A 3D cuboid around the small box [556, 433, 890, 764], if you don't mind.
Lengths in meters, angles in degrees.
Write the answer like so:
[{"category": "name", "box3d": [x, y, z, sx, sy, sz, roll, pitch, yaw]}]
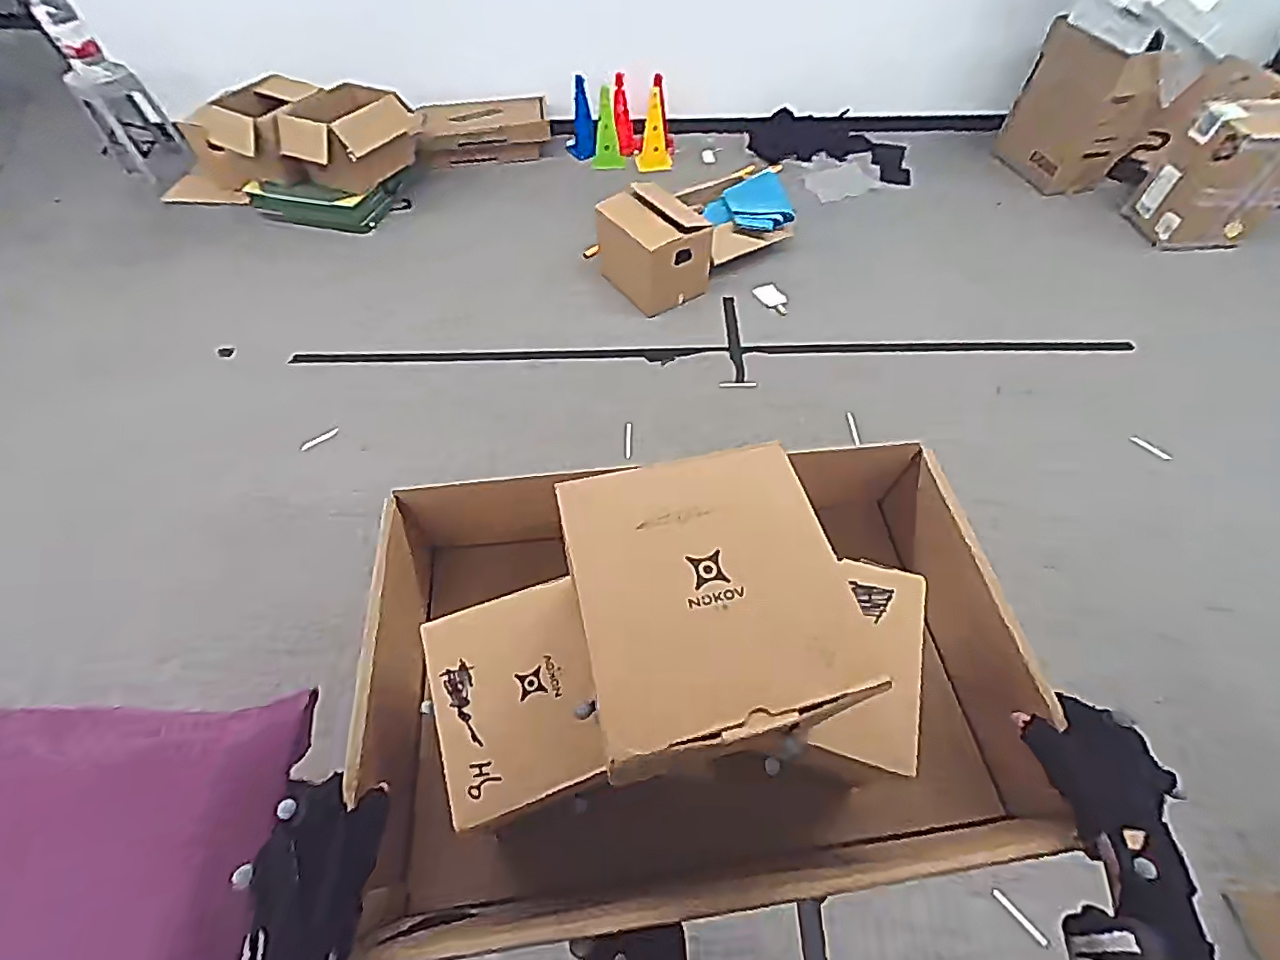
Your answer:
[{"category": "small box", "box3d": [0.040, 0.095, 0.398, 0.168, 0.176, 0.179, -11, 58, -10]}]
